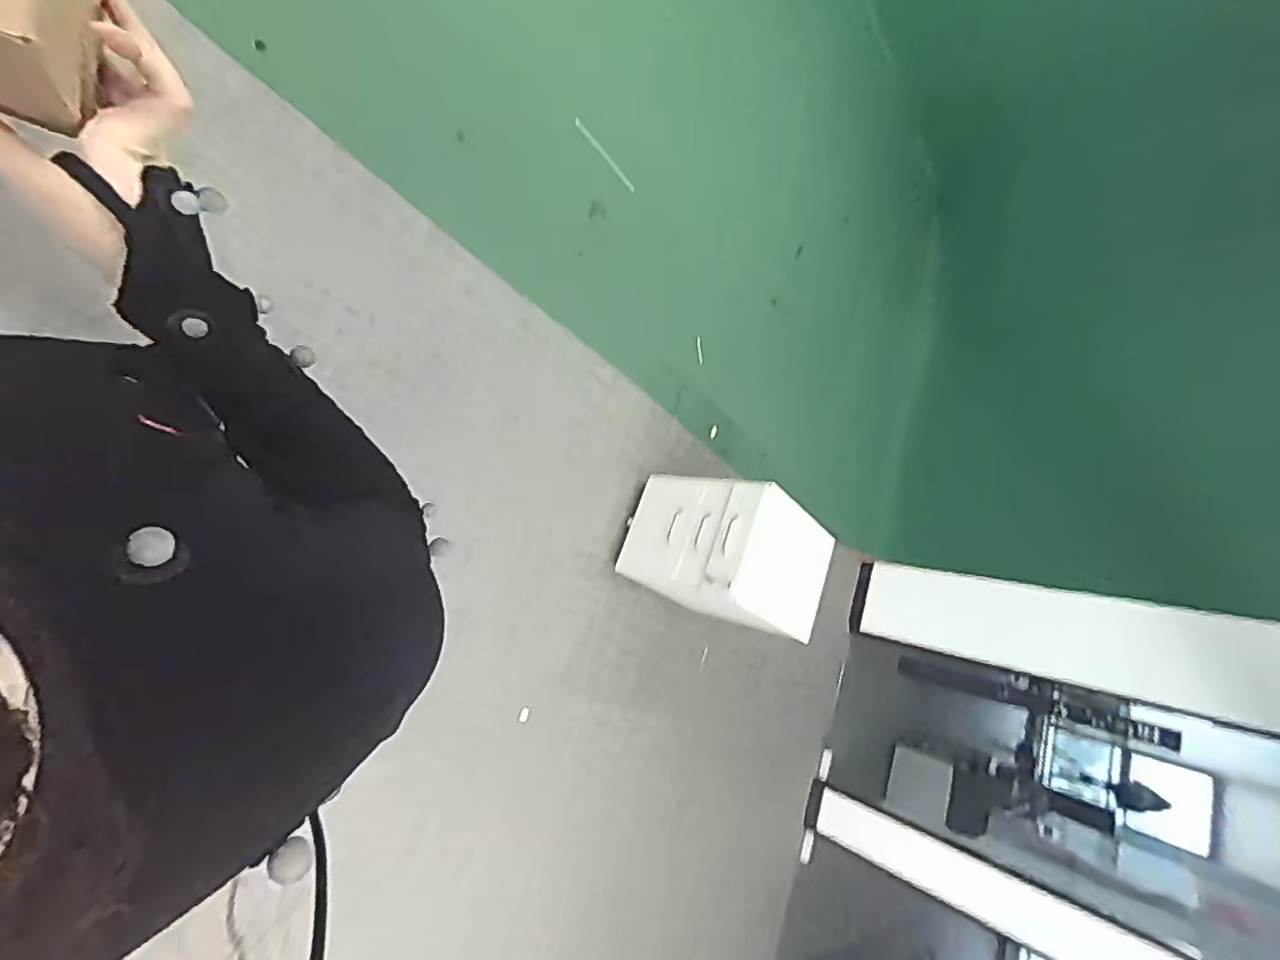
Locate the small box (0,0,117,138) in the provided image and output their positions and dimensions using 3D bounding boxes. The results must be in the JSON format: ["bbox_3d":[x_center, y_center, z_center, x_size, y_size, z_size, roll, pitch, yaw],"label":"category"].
[{"bbox_3d":[-0.314,-0.257,0.196,0.179,0.176,0.168,7,99,-41],"label":"small box"}]
